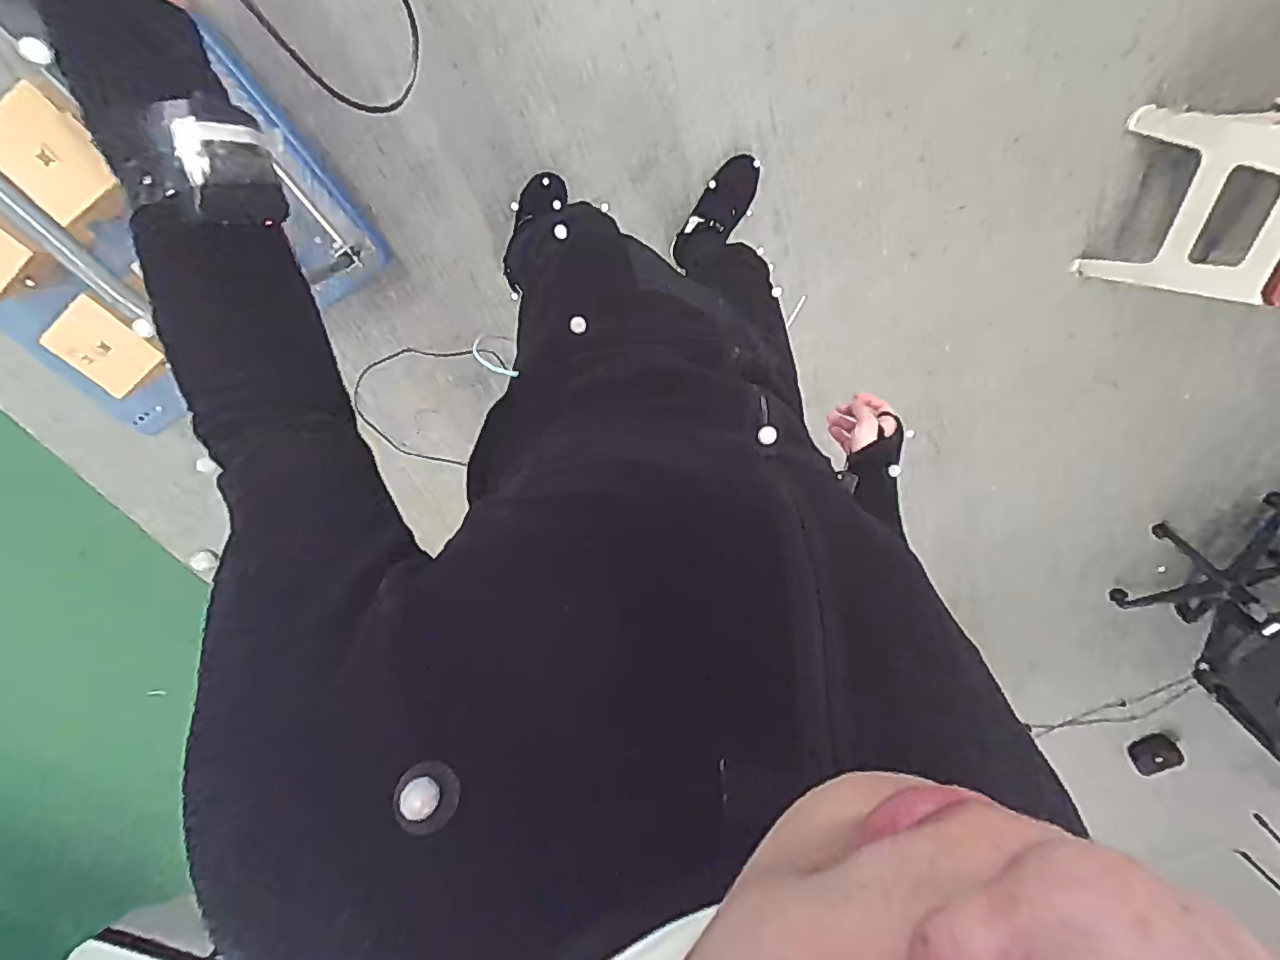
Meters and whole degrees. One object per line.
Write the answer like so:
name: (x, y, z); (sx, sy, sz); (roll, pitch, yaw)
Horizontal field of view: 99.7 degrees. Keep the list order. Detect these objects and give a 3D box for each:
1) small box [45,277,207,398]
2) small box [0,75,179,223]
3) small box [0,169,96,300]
small box: (-1.117, -0.321, 1.196); (0.179, 0.176, 0.168); (-31, 119, 16)
small box: (-1.031, -0.611, 1.009); (0.179, 0.176, 0.168); (-27, 121, 13)
small box: (-1.262, -0.487, 1.075); (0.179, 0.176, 0.168); (-32, 121, 15)
